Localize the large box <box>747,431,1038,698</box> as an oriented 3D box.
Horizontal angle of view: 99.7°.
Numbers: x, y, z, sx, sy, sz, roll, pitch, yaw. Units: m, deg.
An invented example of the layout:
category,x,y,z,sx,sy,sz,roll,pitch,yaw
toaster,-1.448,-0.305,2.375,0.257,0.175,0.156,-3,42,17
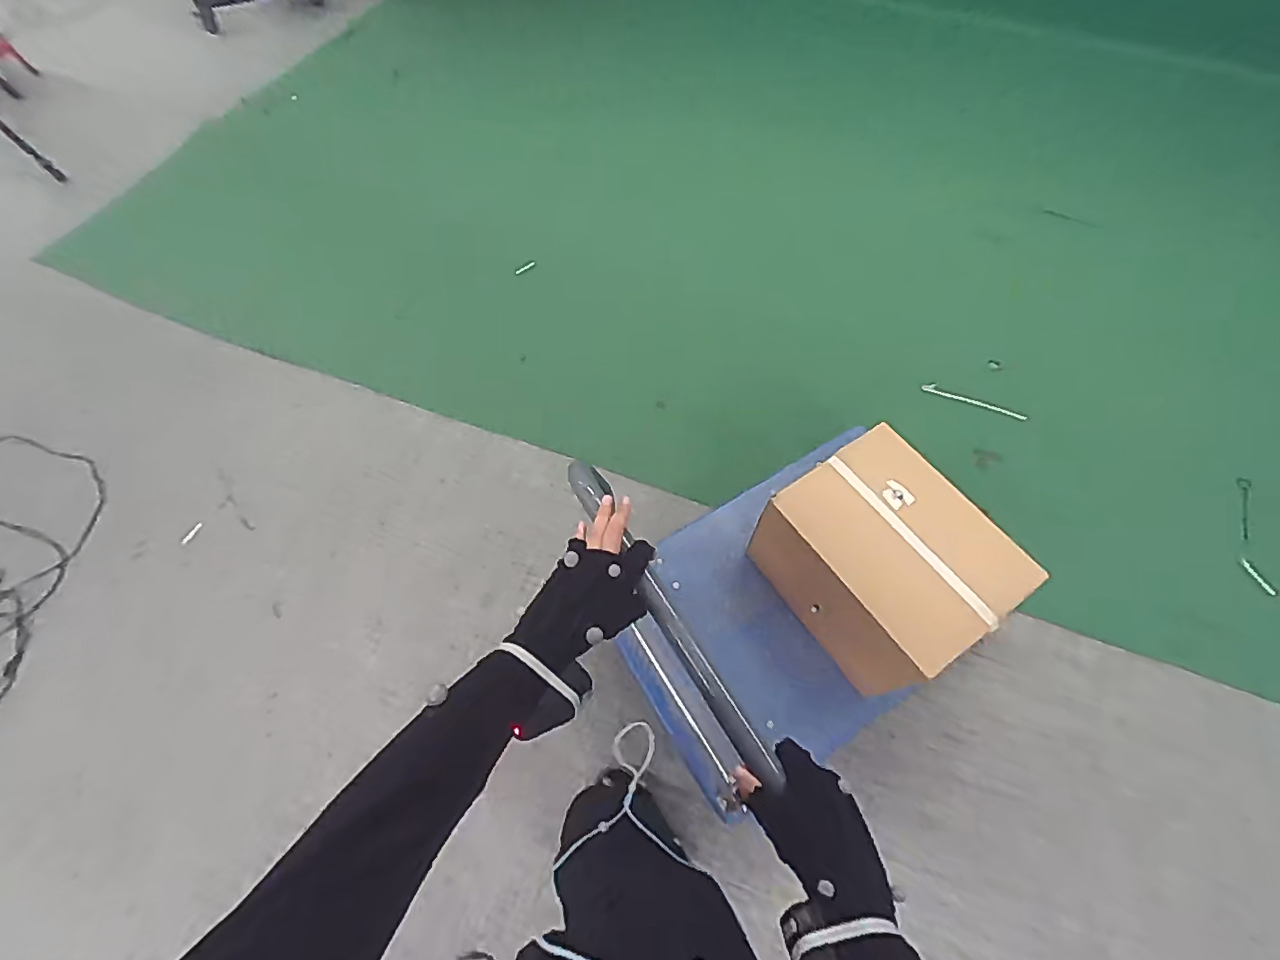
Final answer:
category,x,y,z,sx,sy,sz,roll,pitch,yaw
large box,0.487,0.183,1.142,0.320,0.320,0.408,-31,65,-15
